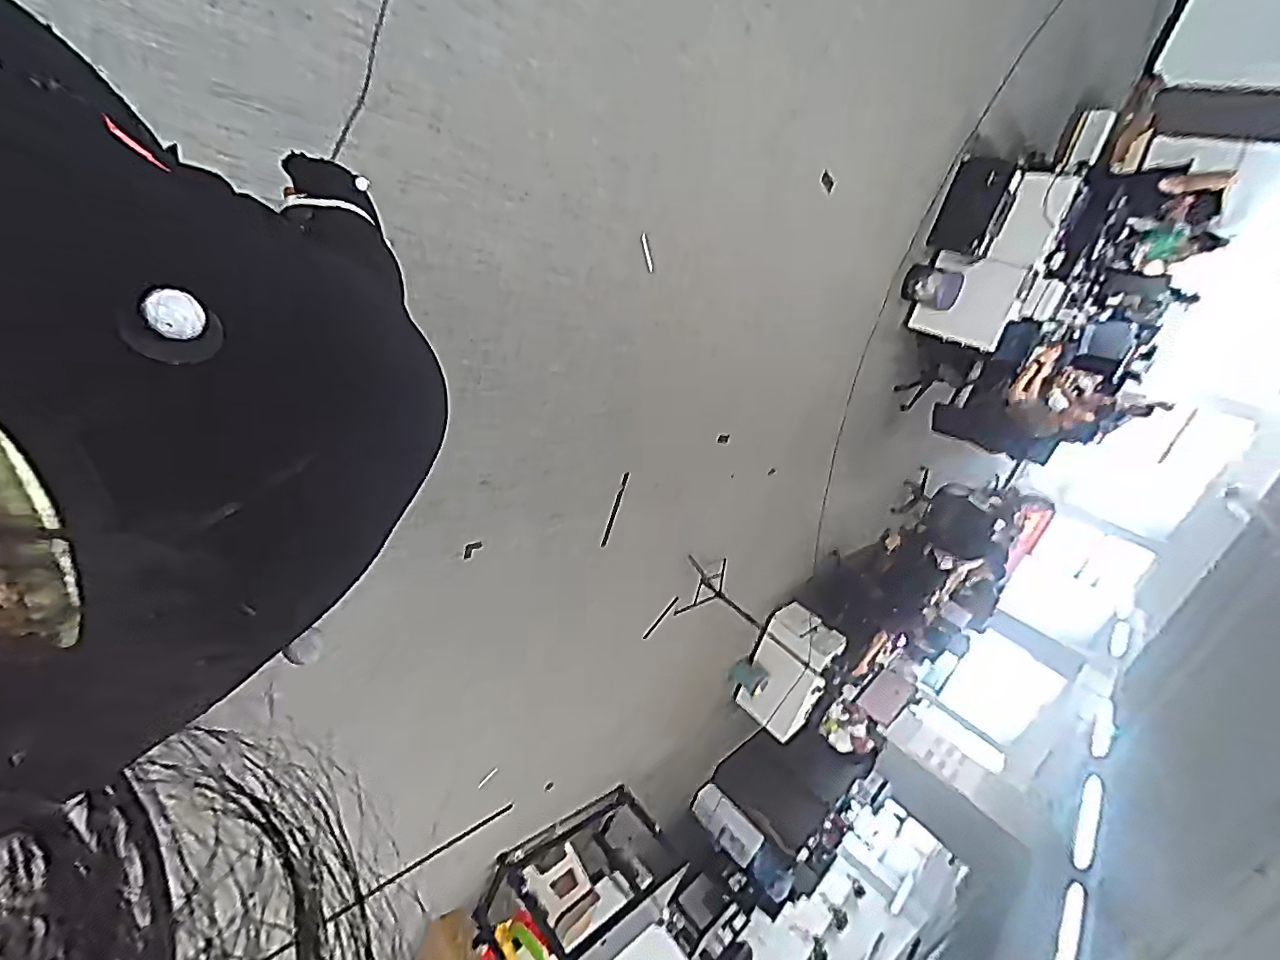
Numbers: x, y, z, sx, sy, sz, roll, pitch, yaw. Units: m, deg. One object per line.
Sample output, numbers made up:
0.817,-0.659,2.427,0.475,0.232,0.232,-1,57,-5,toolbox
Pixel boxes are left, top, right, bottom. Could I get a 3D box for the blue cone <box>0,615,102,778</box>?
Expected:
-1.260,0.473,1.127,0.192,0.380,0.193,-14,125,-43,blue cone
